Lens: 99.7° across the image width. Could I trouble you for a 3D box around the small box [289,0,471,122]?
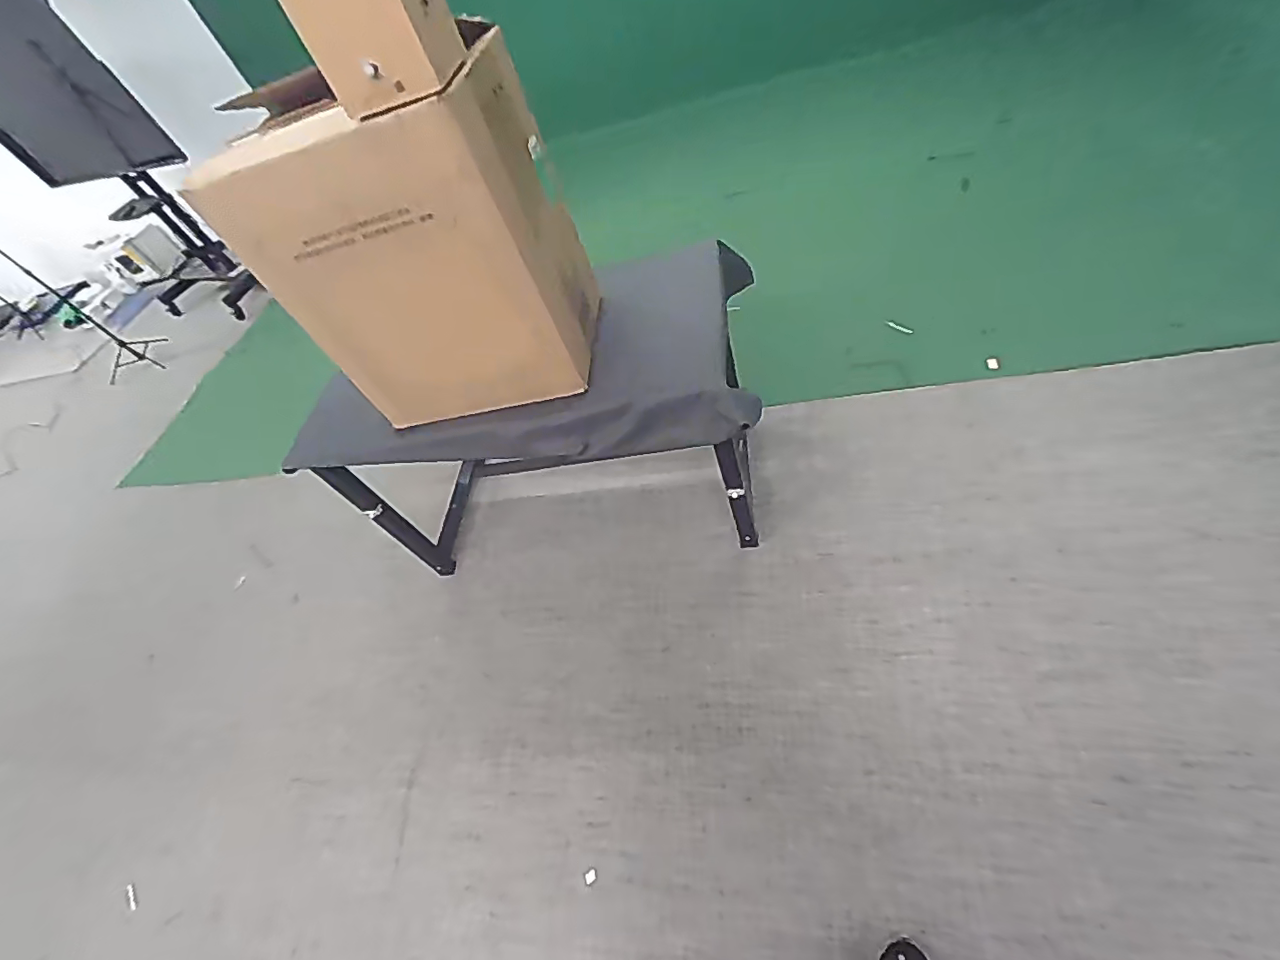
[{"bbox_3d":[-0.380,-0.683,0.821,0.168,0.176,0.179,-8,53,13],"label":"small box"}]
